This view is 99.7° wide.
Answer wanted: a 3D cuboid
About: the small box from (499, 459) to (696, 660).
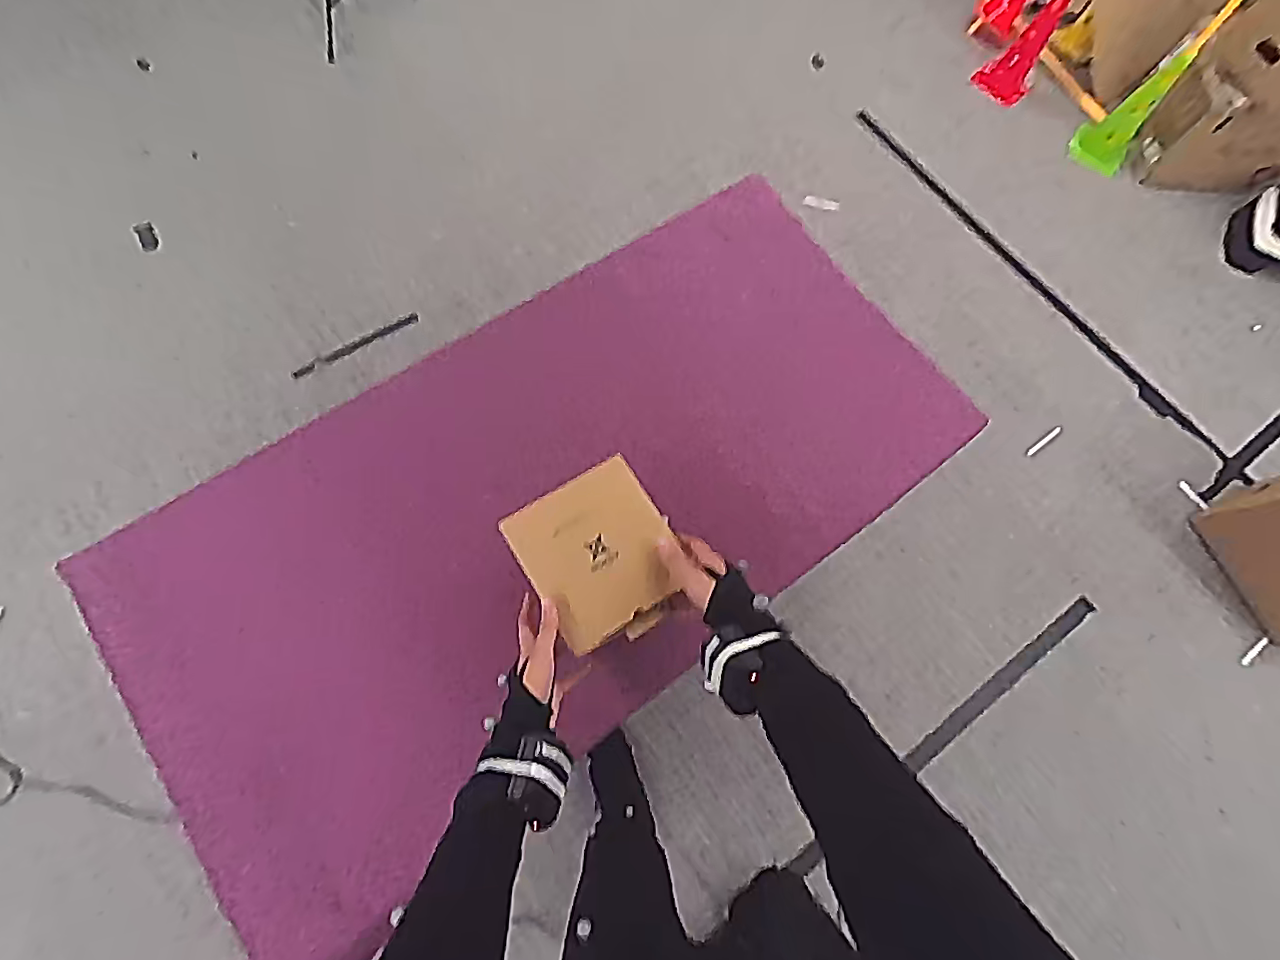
[{"bbox_3d":[-0.052,0.106,0.686,0.168,0.176,0.179,-30,77,-13],"label":"small box"}]
